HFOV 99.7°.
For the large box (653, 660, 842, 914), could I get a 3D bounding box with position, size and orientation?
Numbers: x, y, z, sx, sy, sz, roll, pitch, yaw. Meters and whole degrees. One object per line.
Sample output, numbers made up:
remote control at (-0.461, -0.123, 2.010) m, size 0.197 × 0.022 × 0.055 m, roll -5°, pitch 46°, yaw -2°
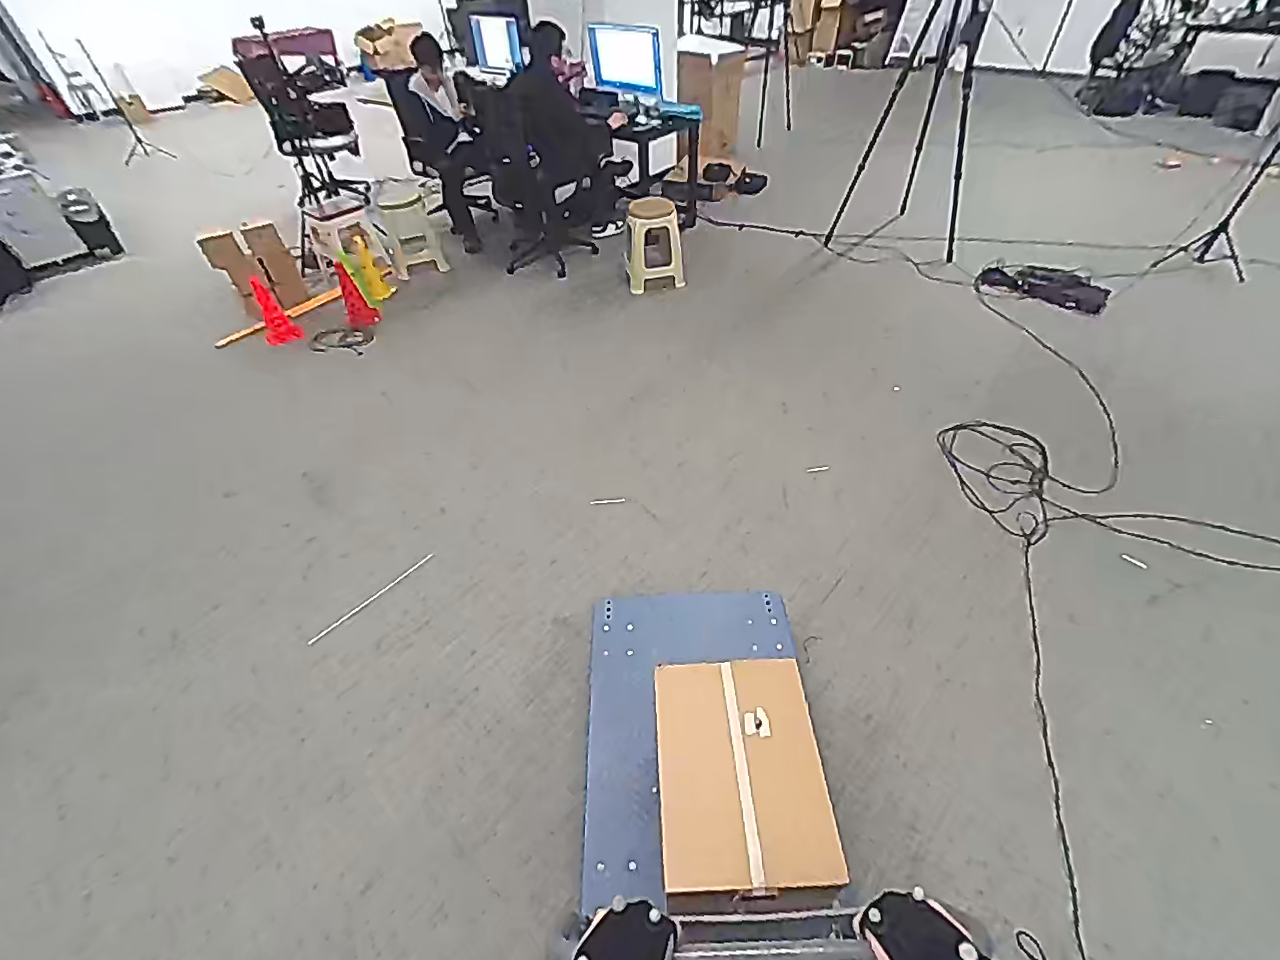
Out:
large box at (0.199, 0.658, 1.172) m, size 0.320 × 0.320 × 0.408 m, roll -3°, pitch 44°, yaw 0°
